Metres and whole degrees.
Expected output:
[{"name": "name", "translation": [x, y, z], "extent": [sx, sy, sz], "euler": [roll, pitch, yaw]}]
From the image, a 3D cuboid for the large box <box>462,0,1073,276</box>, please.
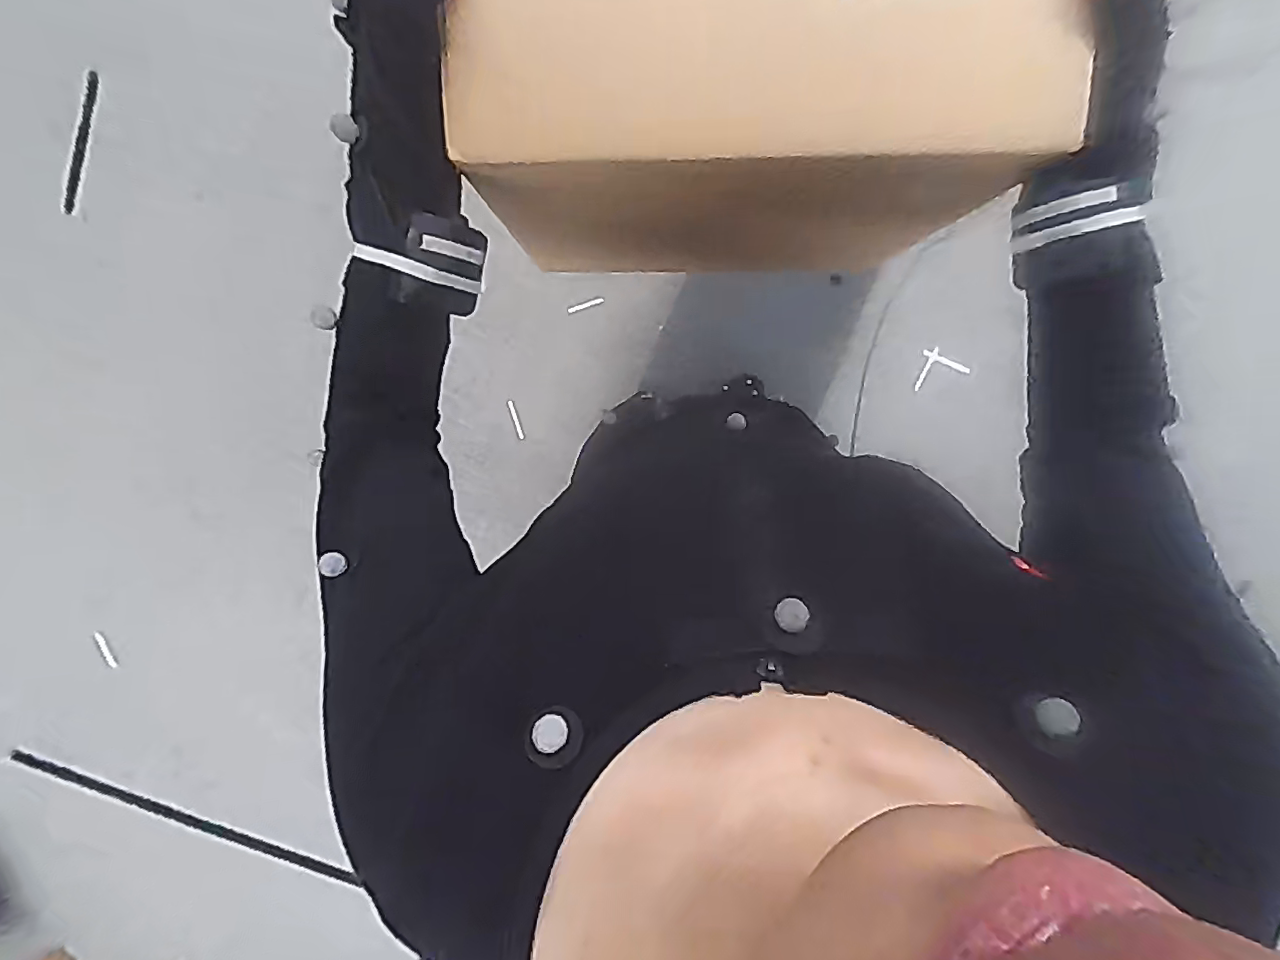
[{"name": "large box", "translation": [0.079, -0.386, 0.491], "extent": [0.408, 0.320, 0.320], "euler": [0, 98, 0]}]
